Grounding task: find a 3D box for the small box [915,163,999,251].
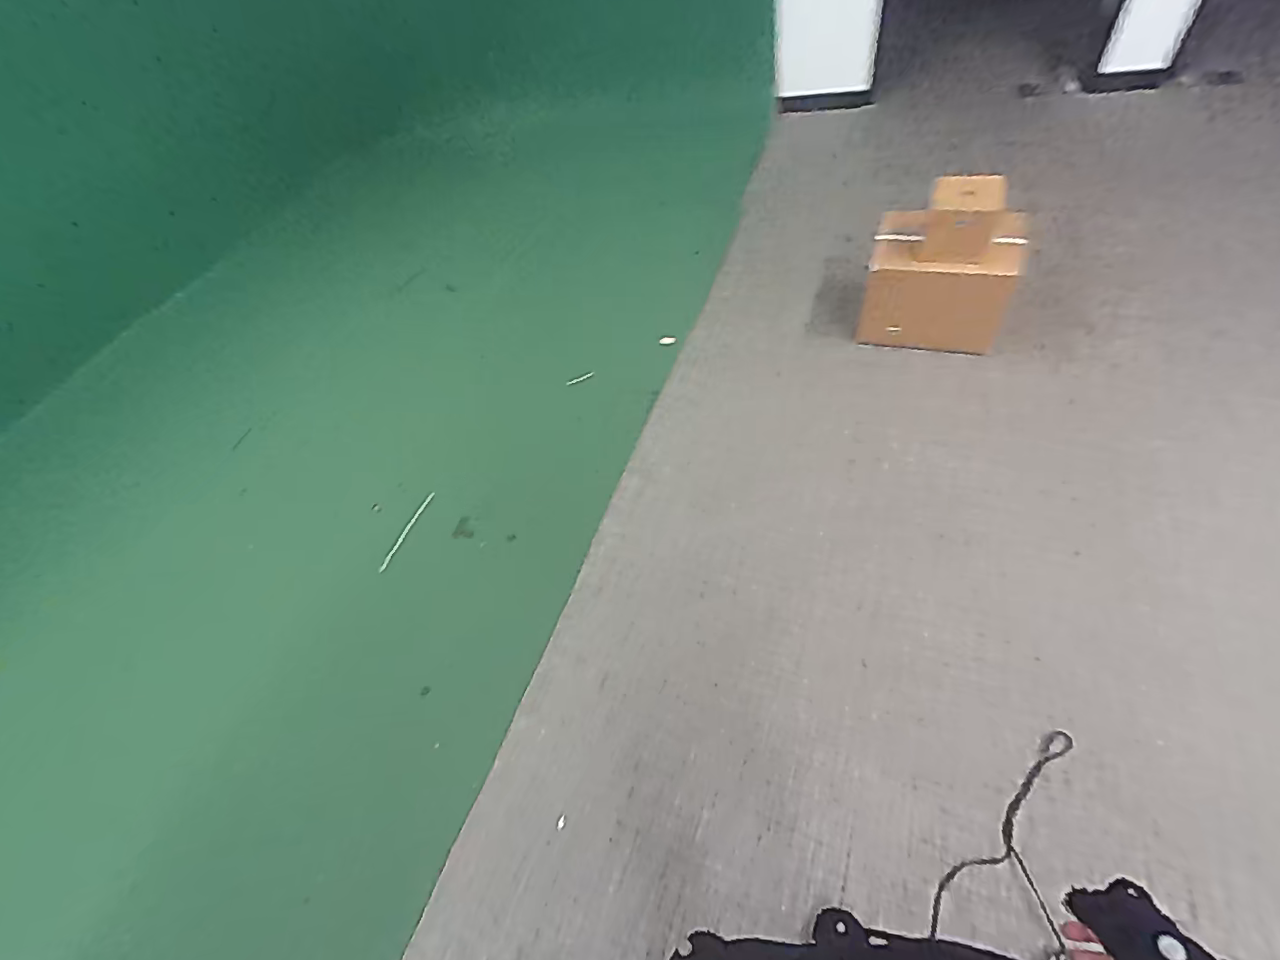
[{"bbox_3d":[0.909,-0.783,1.559,0.179,0.176,0.168,11,62,20],"label":"small box"}]
